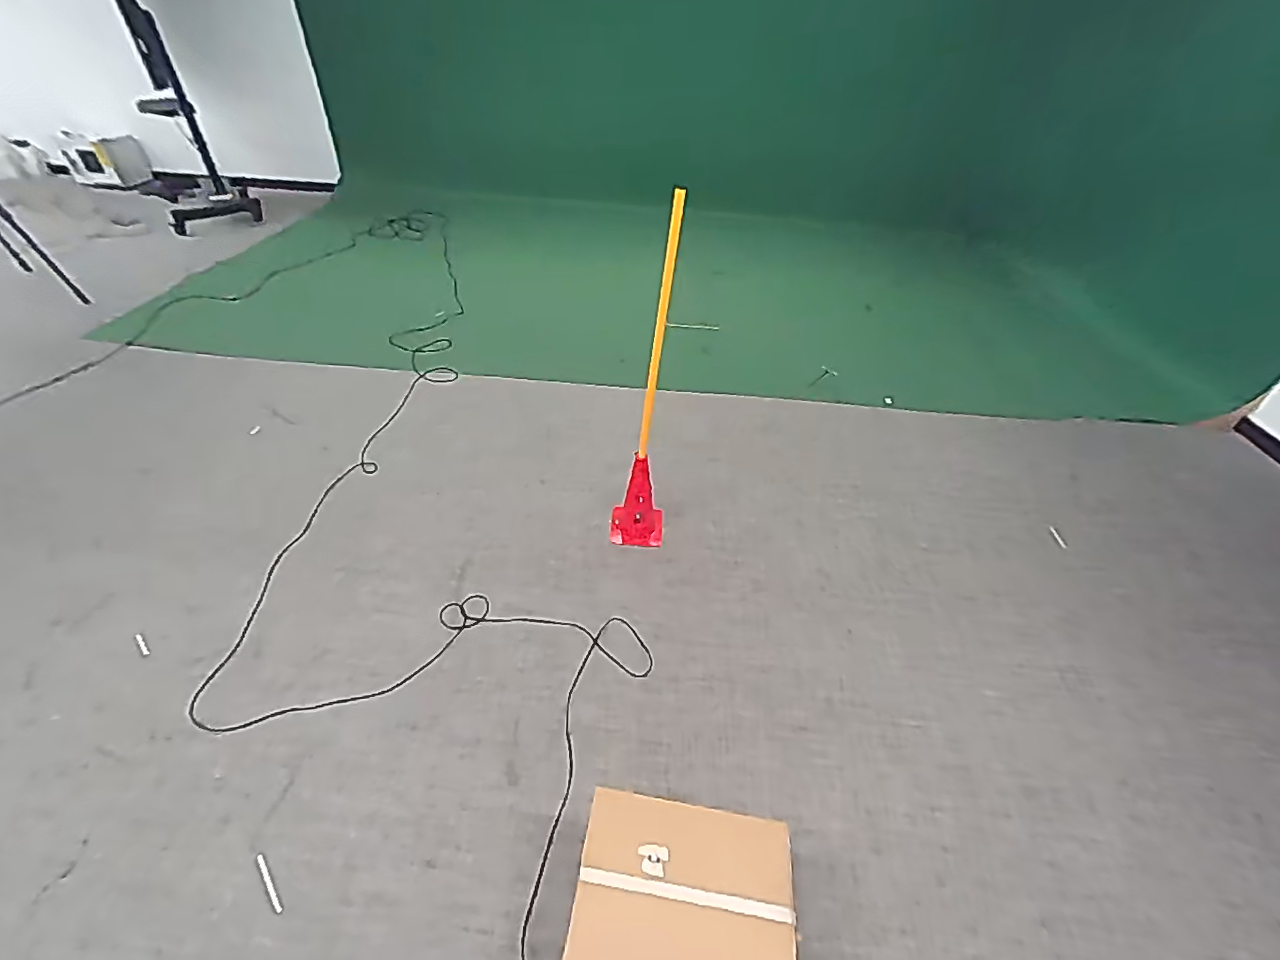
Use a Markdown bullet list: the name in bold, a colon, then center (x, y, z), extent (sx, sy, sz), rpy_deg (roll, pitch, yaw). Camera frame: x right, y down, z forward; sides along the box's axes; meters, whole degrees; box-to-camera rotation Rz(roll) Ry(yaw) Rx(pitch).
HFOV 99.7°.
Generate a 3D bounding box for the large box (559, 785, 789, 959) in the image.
- **large box**: center (0.072, 0.880, 1.115), extent (0.408, 0.320, 0.320), rpy_deg (9, 41, 5)
